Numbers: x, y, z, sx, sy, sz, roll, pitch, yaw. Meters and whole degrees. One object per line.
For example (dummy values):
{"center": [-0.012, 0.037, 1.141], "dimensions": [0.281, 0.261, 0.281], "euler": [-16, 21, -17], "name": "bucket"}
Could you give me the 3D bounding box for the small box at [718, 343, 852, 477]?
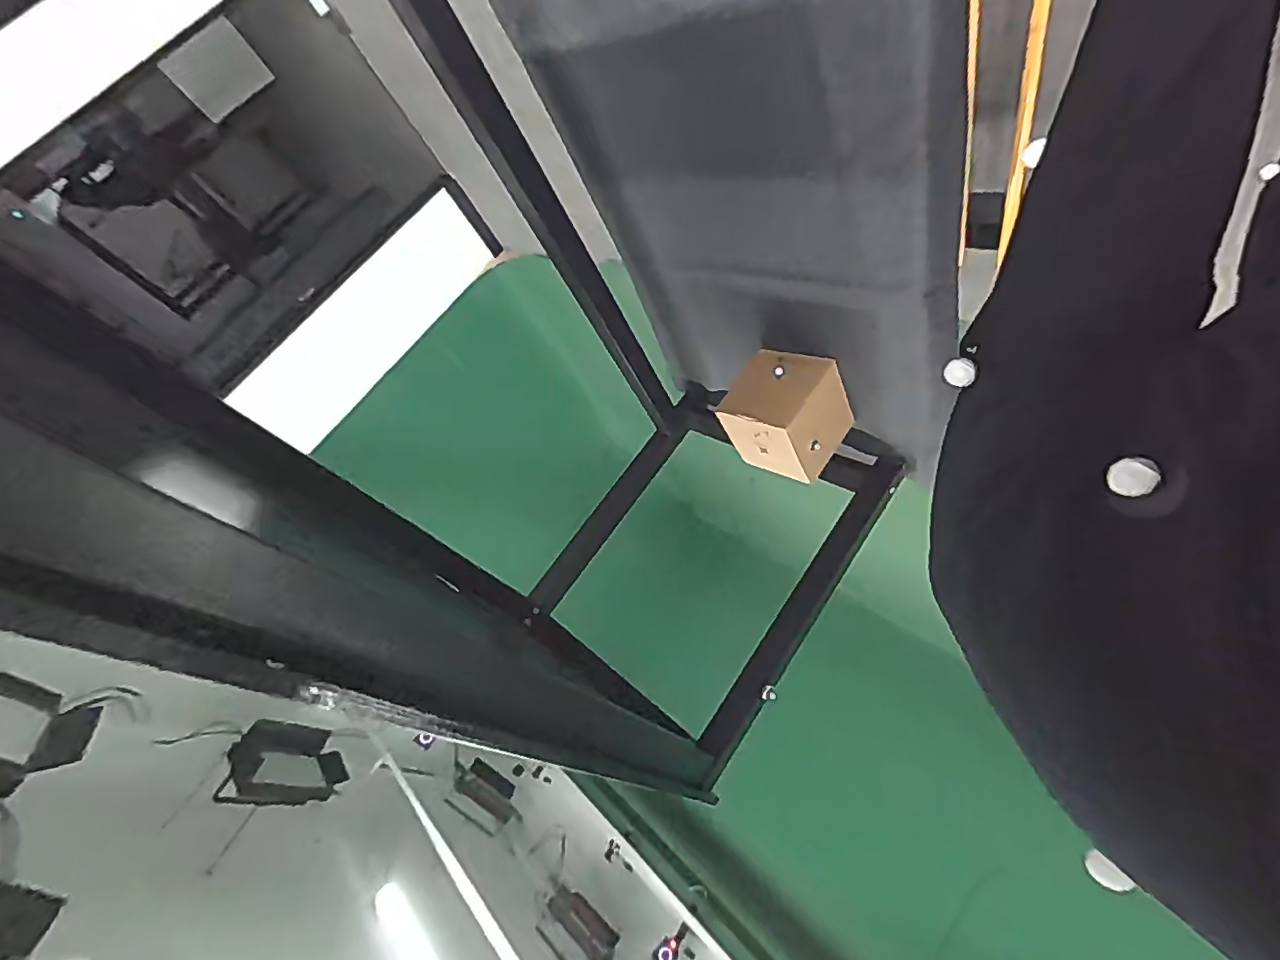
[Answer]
{"center": [0.289, -0.139, 1.057], "dimensions": [0.168, 0.176, 0.179], "euler": [24, 162, 44], "name": "small box"}
